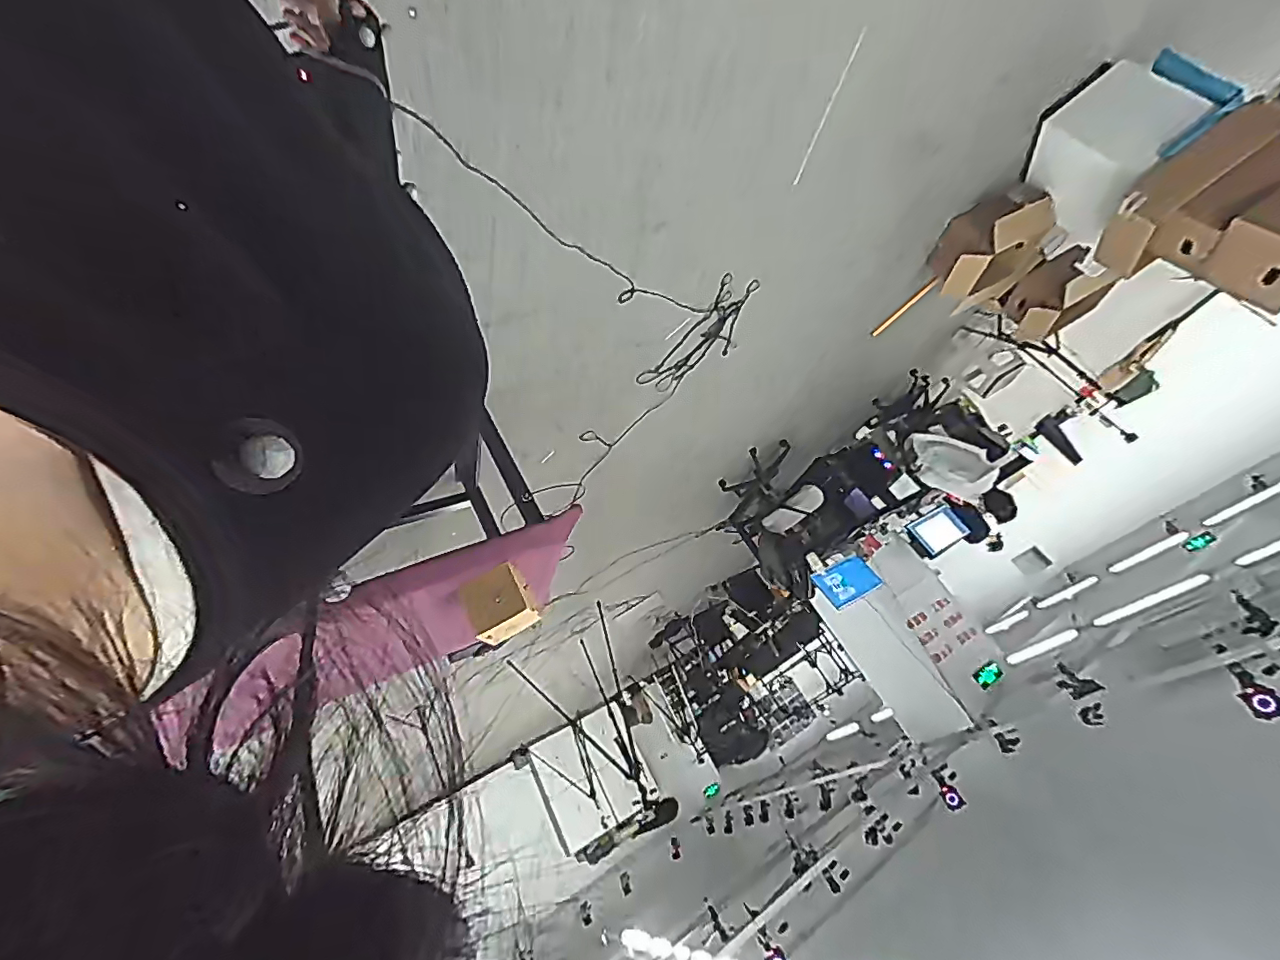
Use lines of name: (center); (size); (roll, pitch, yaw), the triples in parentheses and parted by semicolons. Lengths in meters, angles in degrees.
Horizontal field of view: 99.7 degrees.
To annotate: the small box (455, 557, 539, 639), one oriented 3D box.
small box: (-0.443, 0.364, 1.675); (0.179, 0.176, 0.168); (-29, 156, -8)
